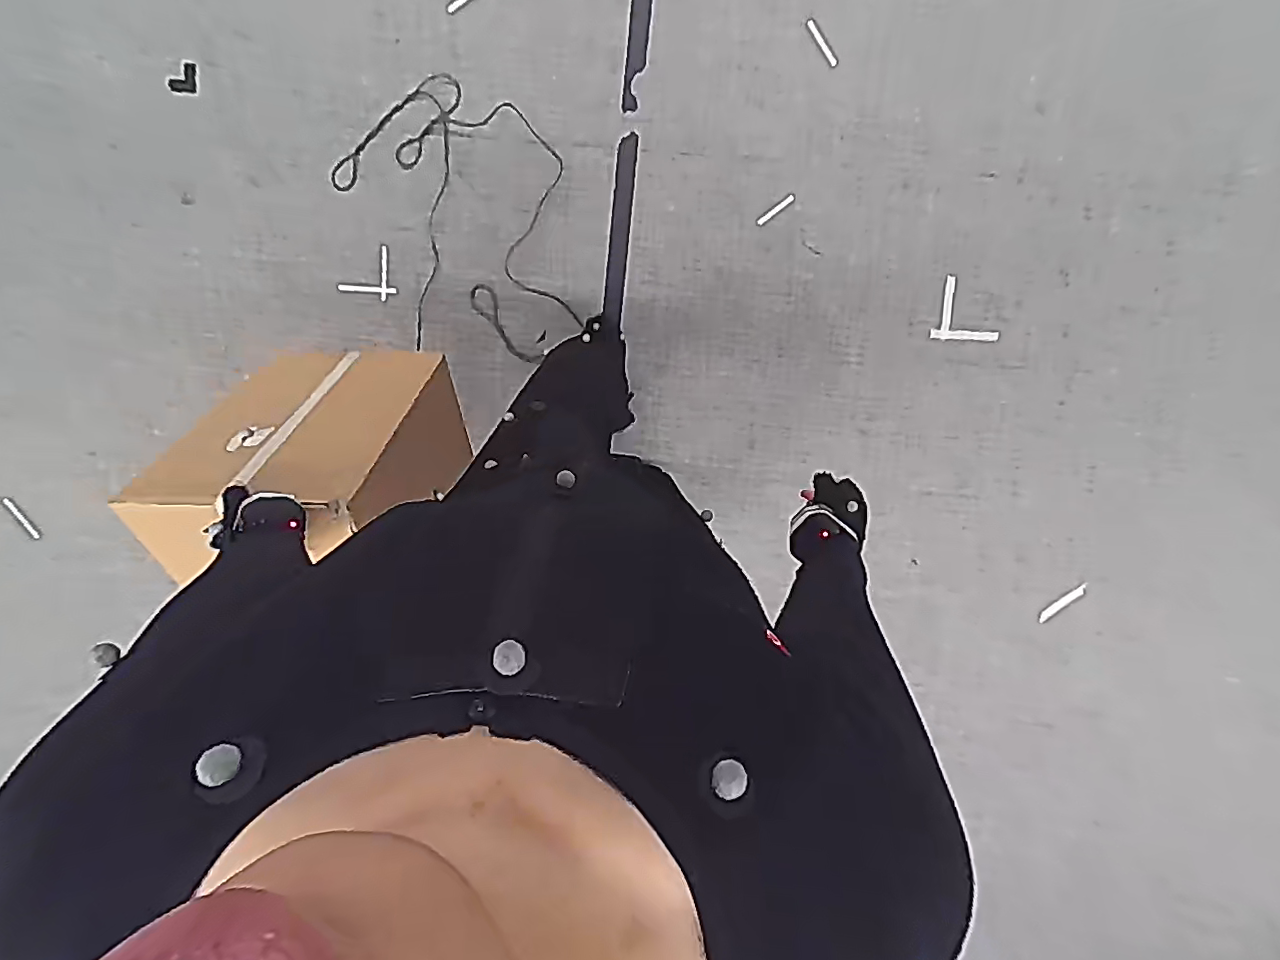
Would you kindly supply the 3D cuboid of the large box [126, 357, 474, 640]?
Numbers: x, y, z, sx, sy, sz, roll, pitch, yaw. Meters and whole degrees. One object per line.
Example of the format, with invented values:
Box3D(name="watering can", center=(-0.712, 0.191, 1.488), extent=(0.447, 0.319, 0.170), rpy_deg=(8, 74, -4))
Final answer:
Box3D(name="large box", center=(-0.512, 0.019, 0.940), extent=(0.320, 0.408, 0.320), rpy_deg=(-1, 130, 2))
